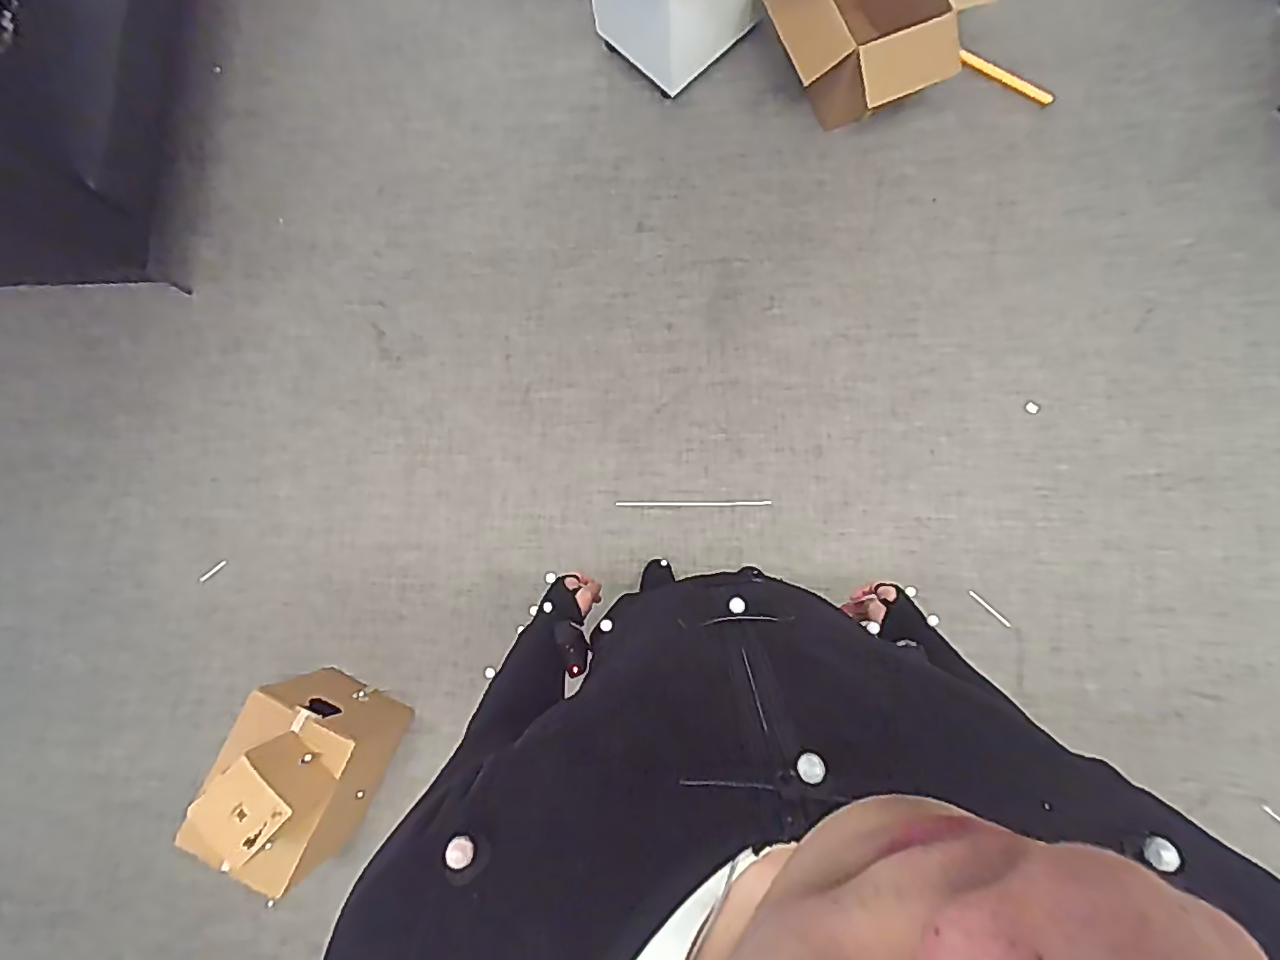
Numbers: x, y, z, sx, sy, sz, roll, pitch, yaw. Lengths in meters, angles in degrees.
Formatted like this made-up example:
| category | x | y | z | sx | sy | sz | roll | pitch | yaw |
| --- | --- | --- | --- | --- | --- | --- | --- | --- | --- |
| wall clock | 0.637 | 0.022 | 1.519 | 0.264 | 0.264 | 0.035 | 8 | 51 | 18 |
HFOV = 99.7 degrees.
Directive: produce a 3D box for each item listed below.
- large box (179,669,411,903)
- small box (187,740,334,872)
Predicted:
| category | x | y | z | sx | sy | sz | roll | pitch | yaw |
| --- | --- | --- | --- | --- | --- | --- | --- | --- | --- |
| large box | -0.902 | 0.790 | 1.470 | 0.320 | 0.320 | 0.408 | 23 | 84 | 7 |
| small box | -0.850 | 0.722 | 1.228 | 0.179 | 0.176 | 0.168 | 43 | 86 | 8 |
